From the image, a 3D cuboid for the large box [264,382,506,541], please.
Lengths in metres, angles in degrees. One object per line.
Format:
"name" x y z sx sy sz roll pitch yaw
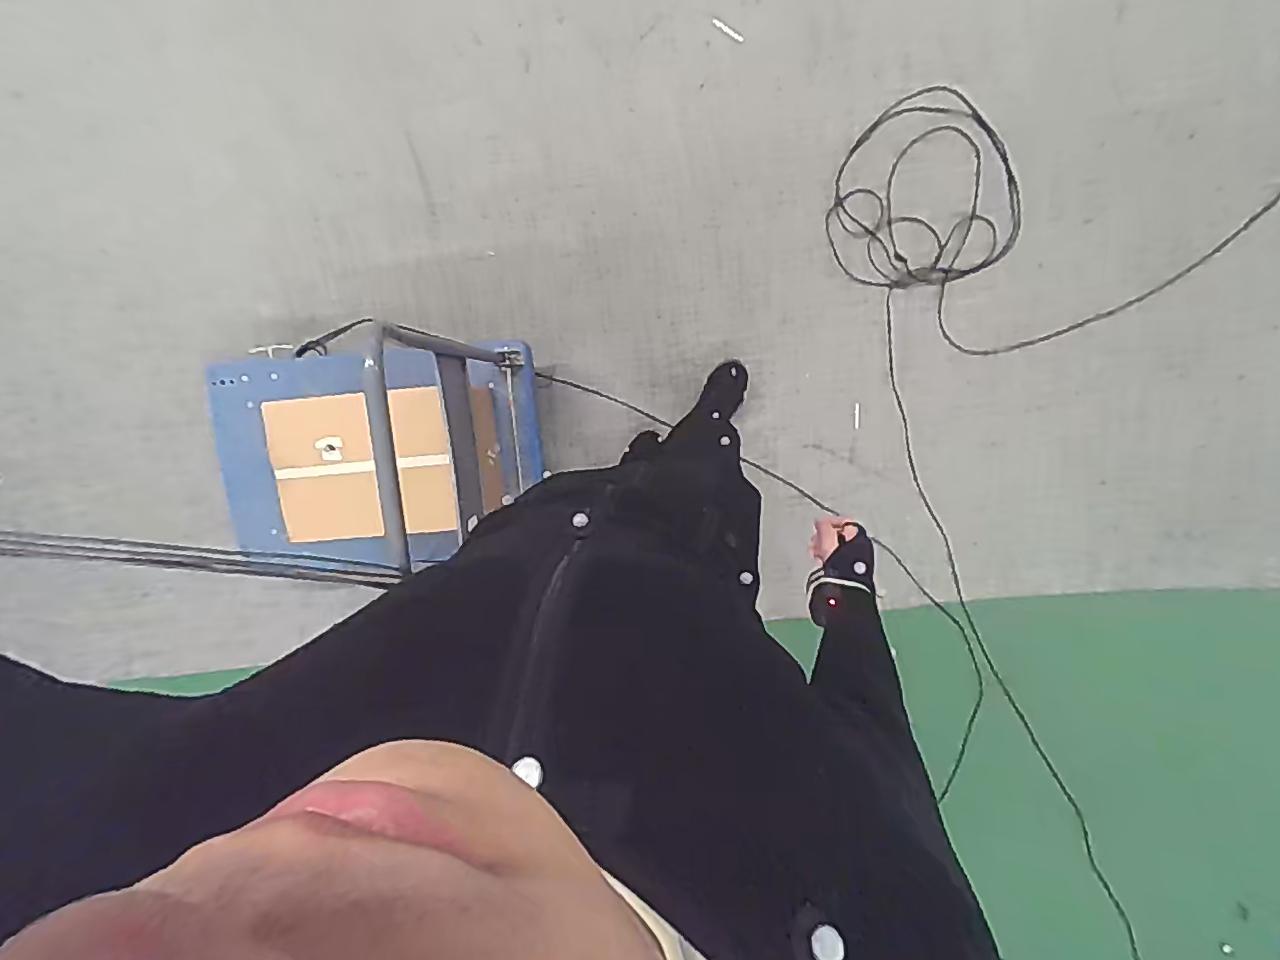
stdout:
"large box" -0.578 -0.059 1.301 0.408 0.320 0.320 -5 99 3
